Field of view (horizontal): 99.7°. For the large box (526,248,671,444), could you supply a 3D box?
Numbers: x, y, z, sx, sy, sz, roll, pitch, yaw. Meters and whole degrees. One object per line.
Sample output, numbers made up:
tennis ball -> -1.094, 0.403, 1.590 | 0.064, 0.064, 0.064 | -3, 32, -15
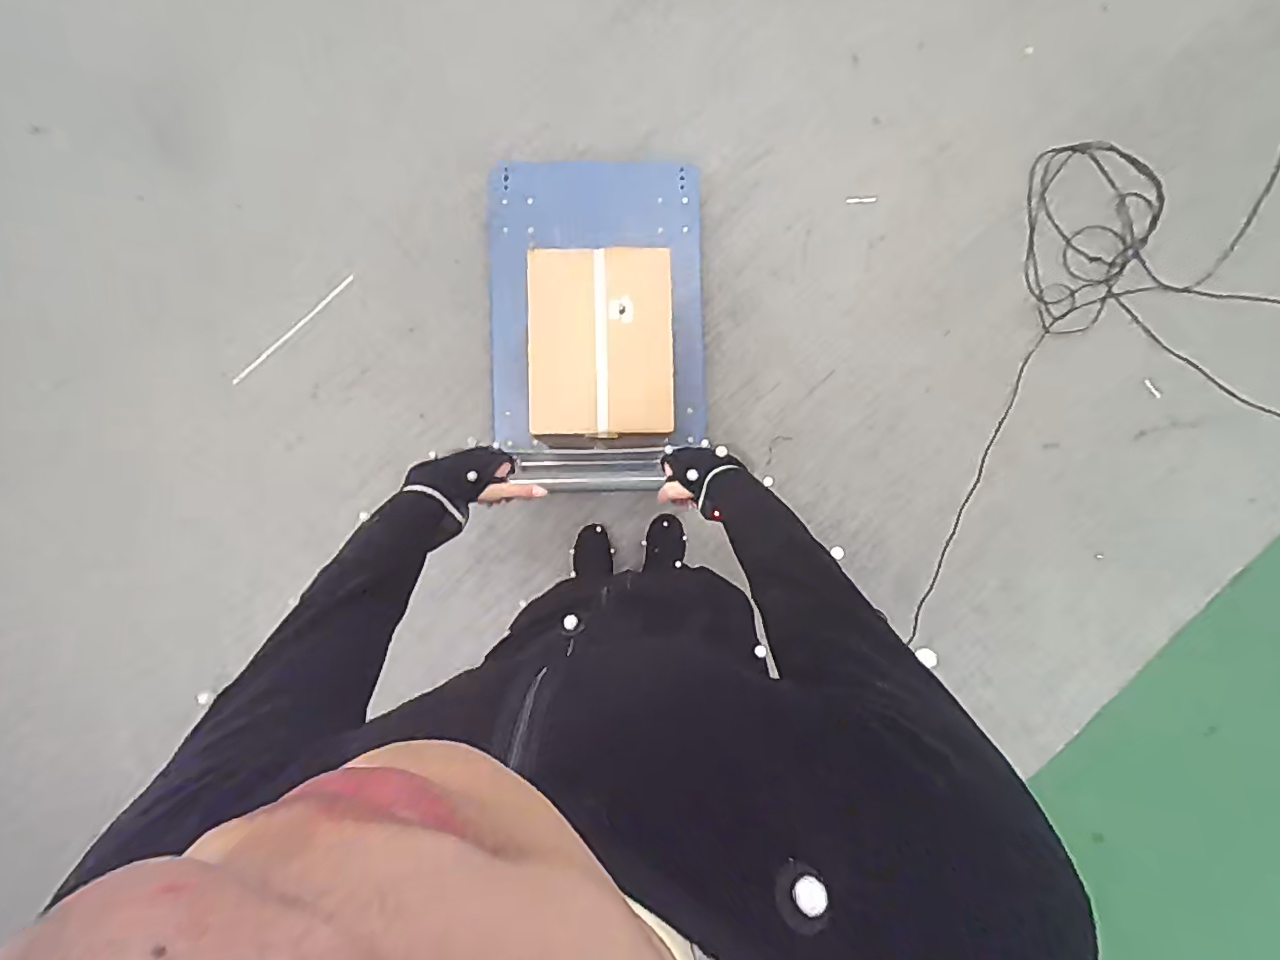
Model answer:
large box -> -0.097, -0.306, 1.332 | 0.320, 0.320, 0.408 | -1, 88, -3
